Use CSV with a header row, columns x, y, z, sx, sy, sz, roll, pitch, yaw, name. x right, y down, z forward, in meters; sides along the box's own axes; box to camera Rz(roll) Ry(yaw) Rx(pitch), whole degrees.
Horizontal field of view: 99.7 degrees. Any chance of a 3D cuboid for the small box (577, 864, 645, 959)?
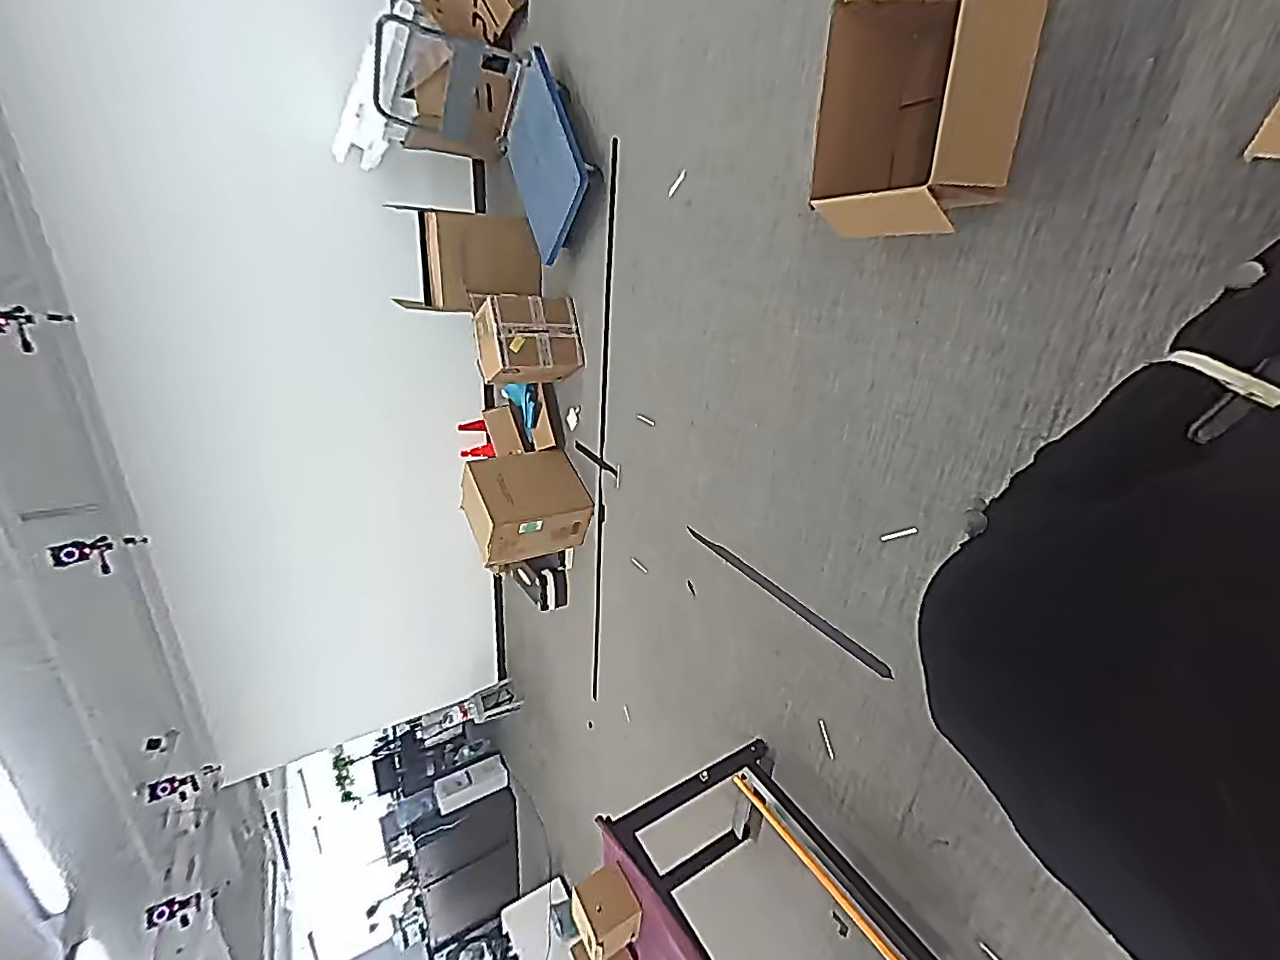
x,y,z,sx,sy,sz,roll,pitch,yaw,name
-0.097,1.431,1.786,0.179,0.176,0.168,38,131,49,small box
